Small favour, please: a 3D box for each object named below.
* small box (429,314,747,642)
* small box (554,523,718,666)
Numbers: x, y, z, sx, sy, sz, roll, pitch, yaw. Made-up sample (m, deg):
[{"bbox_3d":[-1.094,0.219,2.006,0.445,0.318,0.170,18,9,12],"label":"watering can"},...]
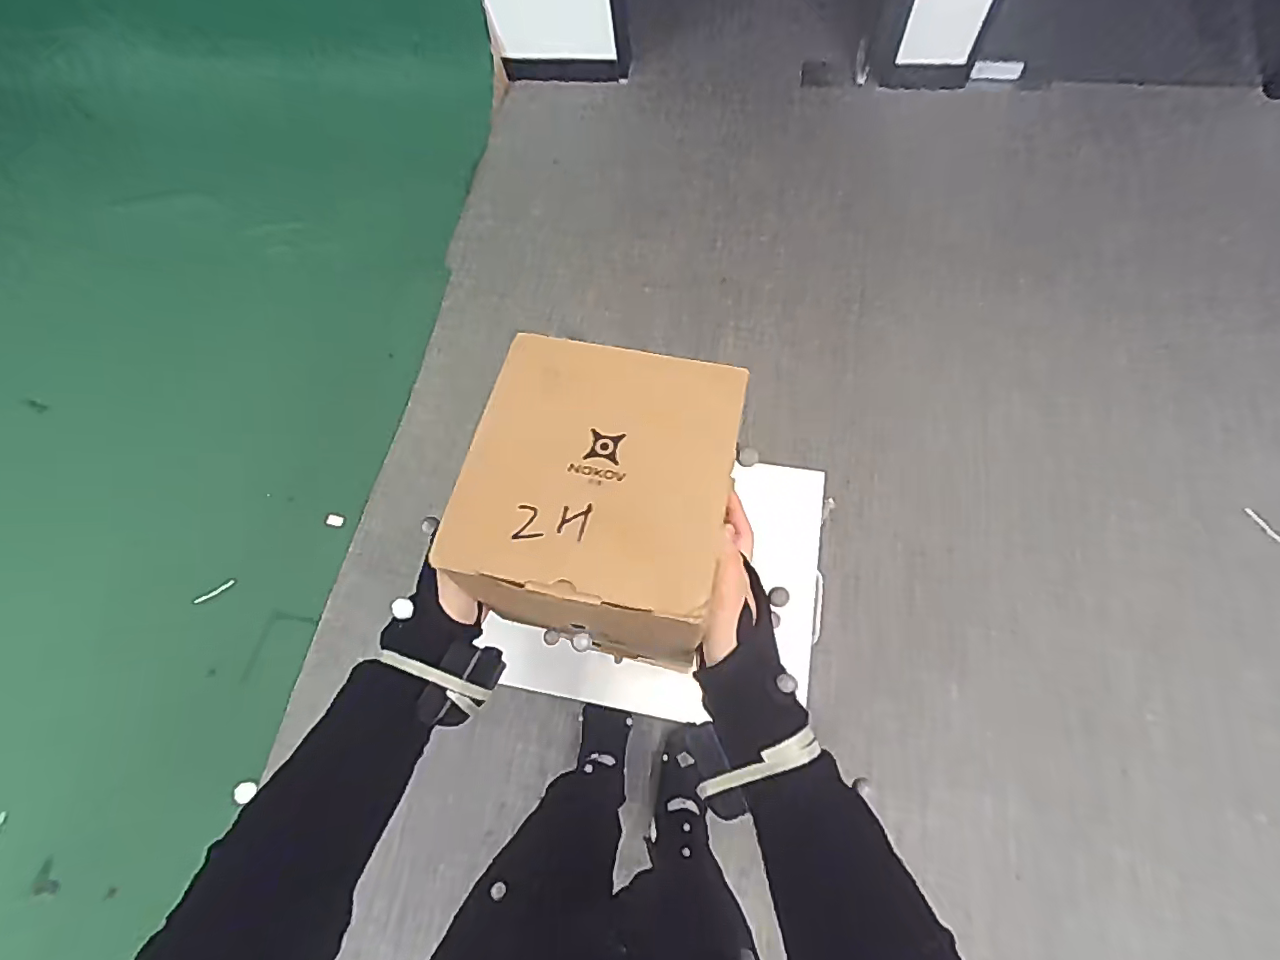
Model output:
[{"bbox_3d":[-0.023,0.007,0.408,0.168,0.176,0.179,10,66,8],"label":"small box"},{"bbox_3d":[0.003,0.137,0.717,0.168,0.176,0.179,11,70,10],"label":"small box"}]
